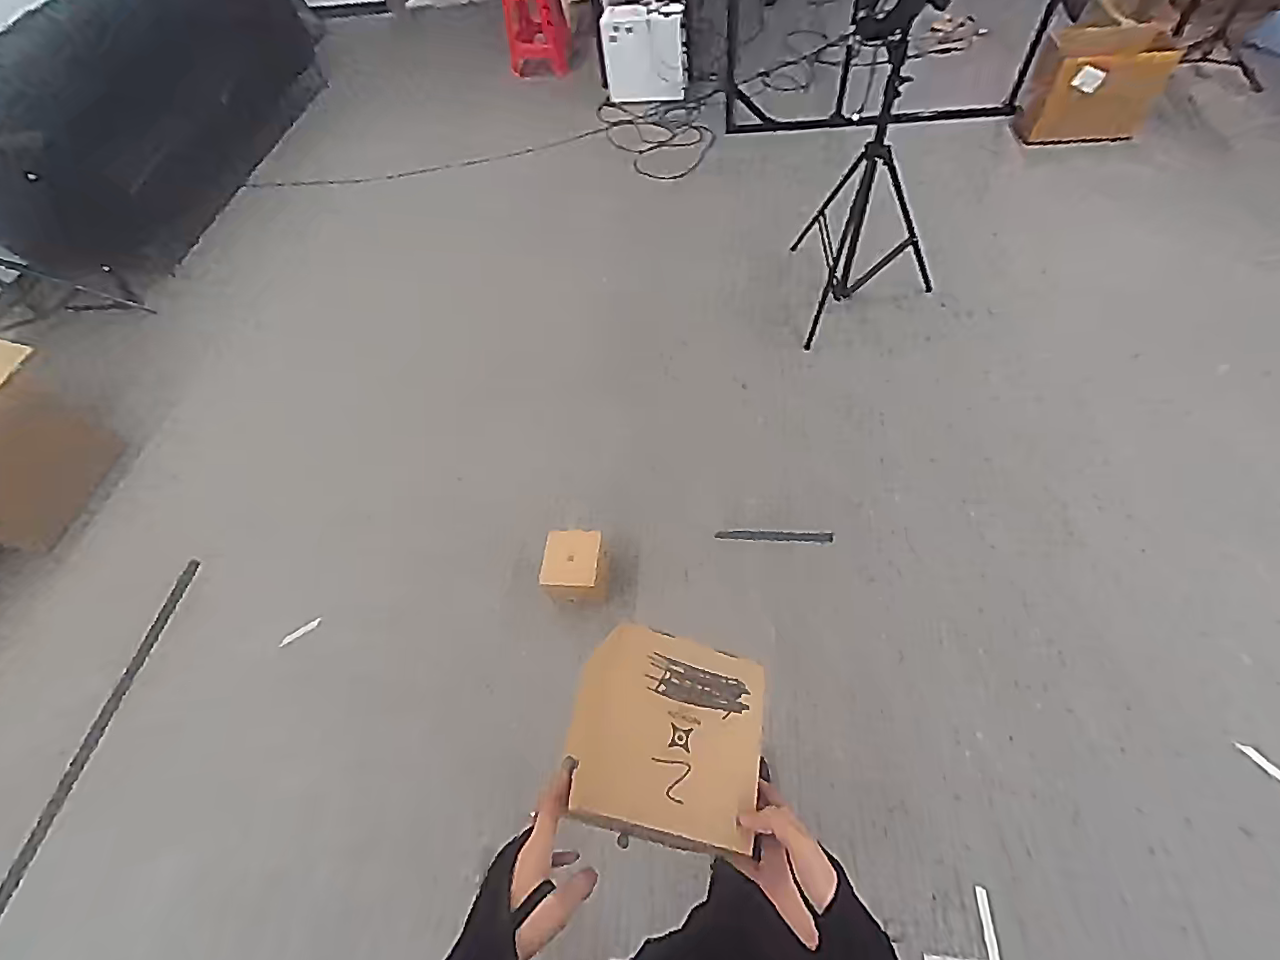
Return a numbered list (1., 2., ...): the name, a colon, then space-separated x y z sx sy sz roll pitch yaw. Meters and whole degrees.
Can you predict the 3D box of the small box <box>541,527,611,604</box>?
1. small box: -0.186 0.260 1.643 0.168 0.176 0.179 1 58 10
